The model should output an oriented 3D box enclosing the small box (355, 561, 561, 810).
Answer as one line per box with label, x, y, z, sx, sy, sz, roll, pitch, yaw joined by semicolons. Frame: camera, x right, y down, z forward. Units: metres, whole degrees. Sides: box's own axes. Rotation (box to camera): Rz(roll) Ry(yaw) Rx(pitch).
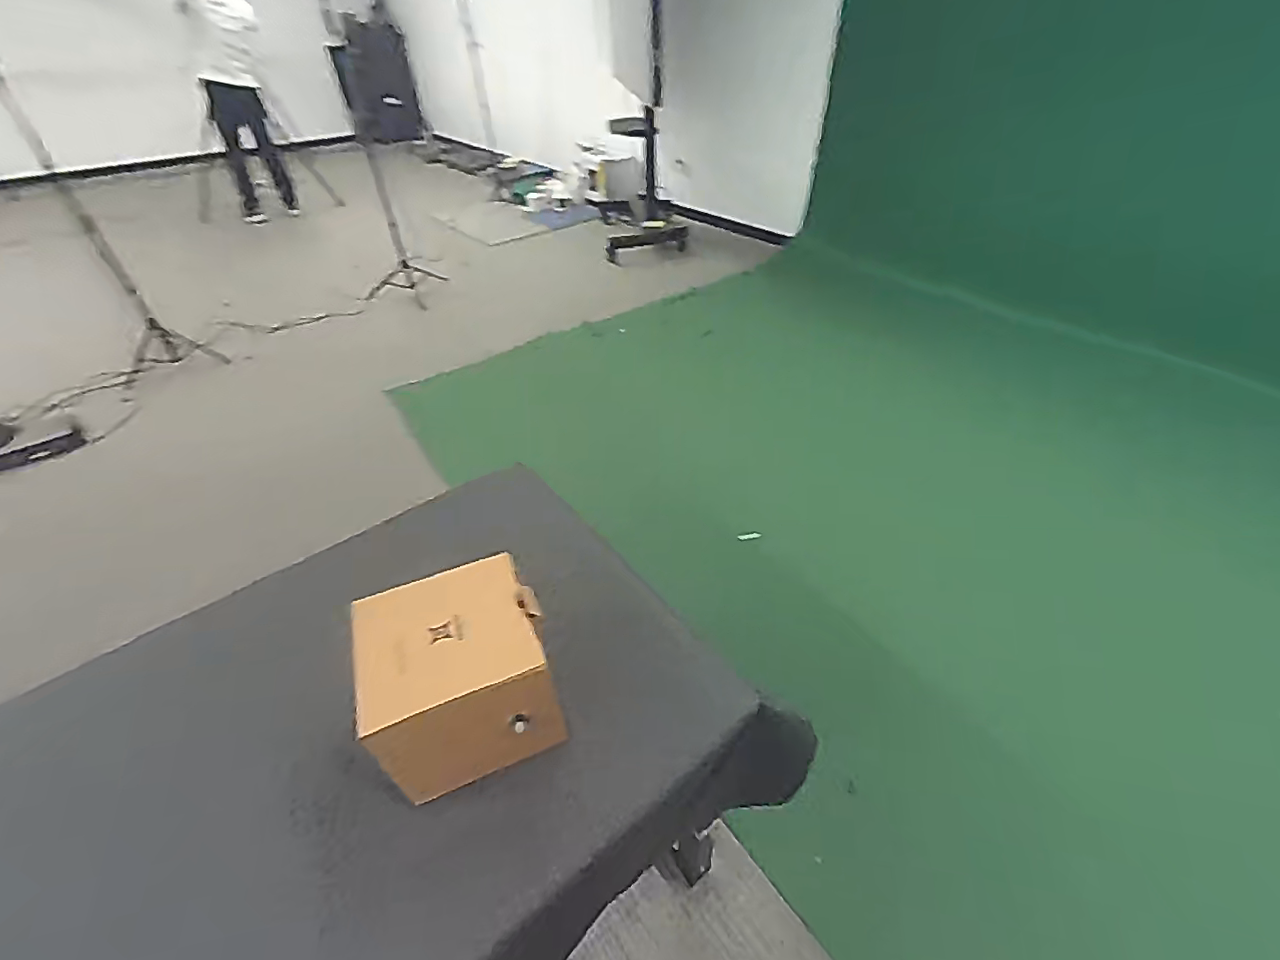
small box;-0.195;0.227;0.608;0.179;0.176;0.168;-19;42;-17
